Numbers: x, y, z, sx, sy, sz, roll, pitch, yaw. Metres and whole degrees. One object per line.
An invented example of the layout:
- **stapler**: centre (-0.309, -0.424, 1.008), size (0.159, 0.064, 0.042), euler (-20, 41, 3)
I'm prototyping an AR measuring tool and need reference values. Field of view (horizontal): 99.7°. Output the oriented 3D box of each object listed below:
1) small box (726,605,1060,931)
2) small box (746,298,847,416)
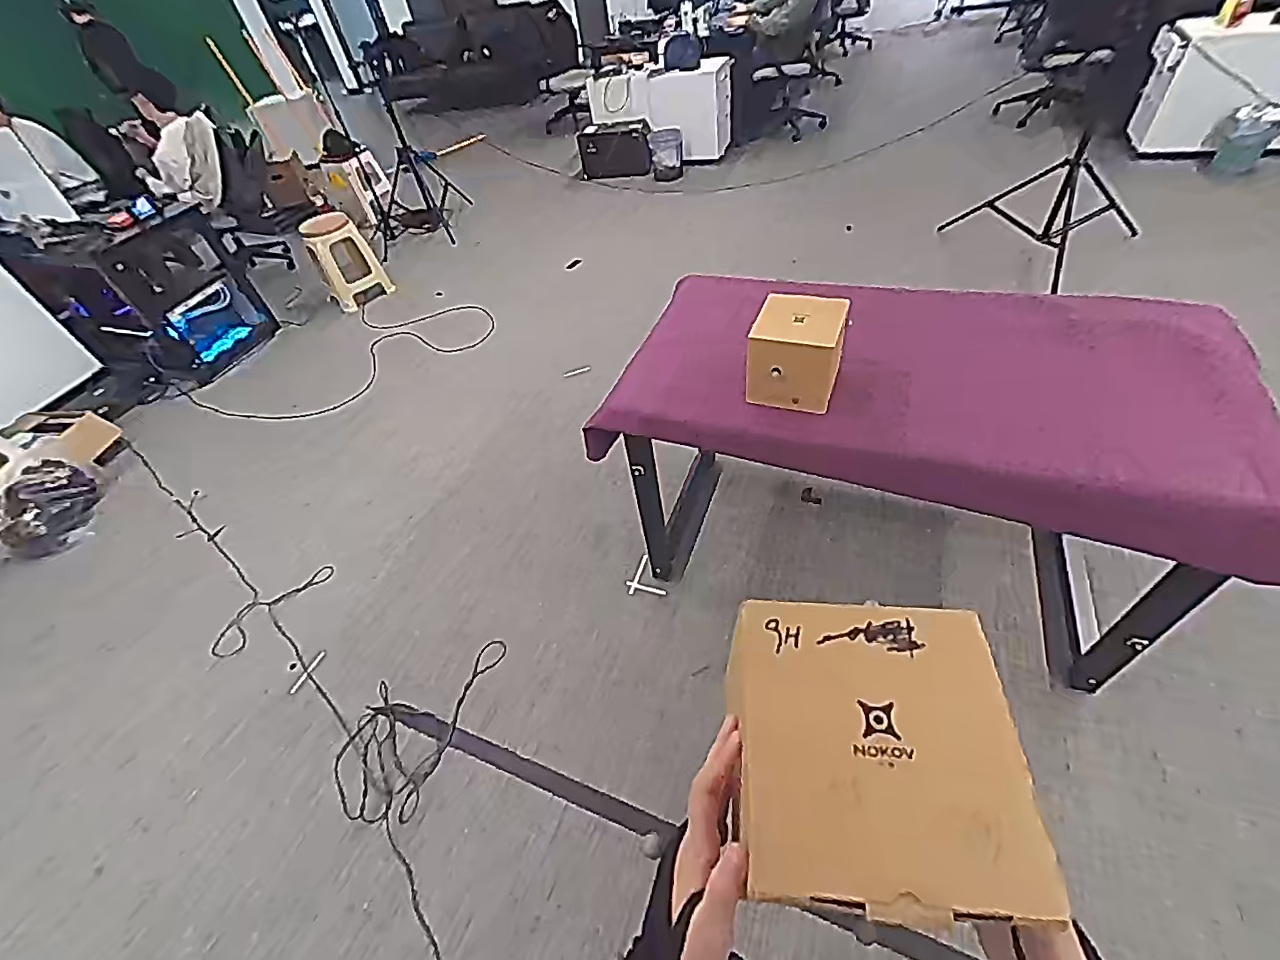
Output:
- **small box**: centre (0.154, 0.212, 0.405), size (0.168, 0.176, 0.179), euler (2, 53, 5)
- **small box**: centre (0.326, -0.257, 1.133), size (0.168, 0.176, 0.179), euler (13, 50, 20)
